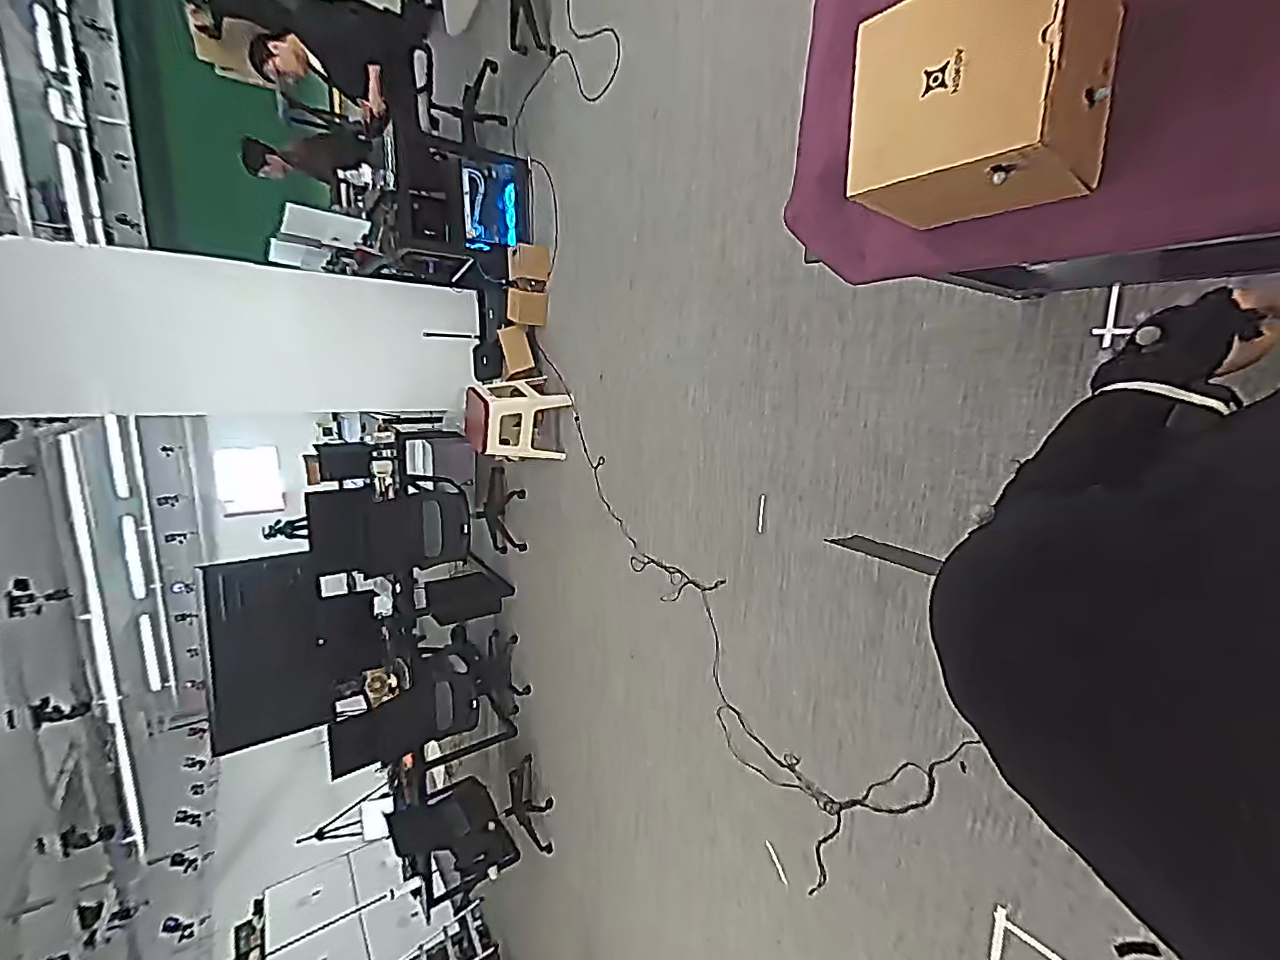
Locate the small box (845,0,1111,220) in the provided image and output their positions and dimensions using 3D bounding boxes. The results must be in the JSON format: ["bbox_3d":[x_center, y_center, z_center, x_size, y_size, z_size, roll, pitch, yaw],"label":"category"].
[{"bbox_3d":[0.336,-0.382,0.548,0.179,0.176,0.168,11,104,50],"label":"small box"}]
